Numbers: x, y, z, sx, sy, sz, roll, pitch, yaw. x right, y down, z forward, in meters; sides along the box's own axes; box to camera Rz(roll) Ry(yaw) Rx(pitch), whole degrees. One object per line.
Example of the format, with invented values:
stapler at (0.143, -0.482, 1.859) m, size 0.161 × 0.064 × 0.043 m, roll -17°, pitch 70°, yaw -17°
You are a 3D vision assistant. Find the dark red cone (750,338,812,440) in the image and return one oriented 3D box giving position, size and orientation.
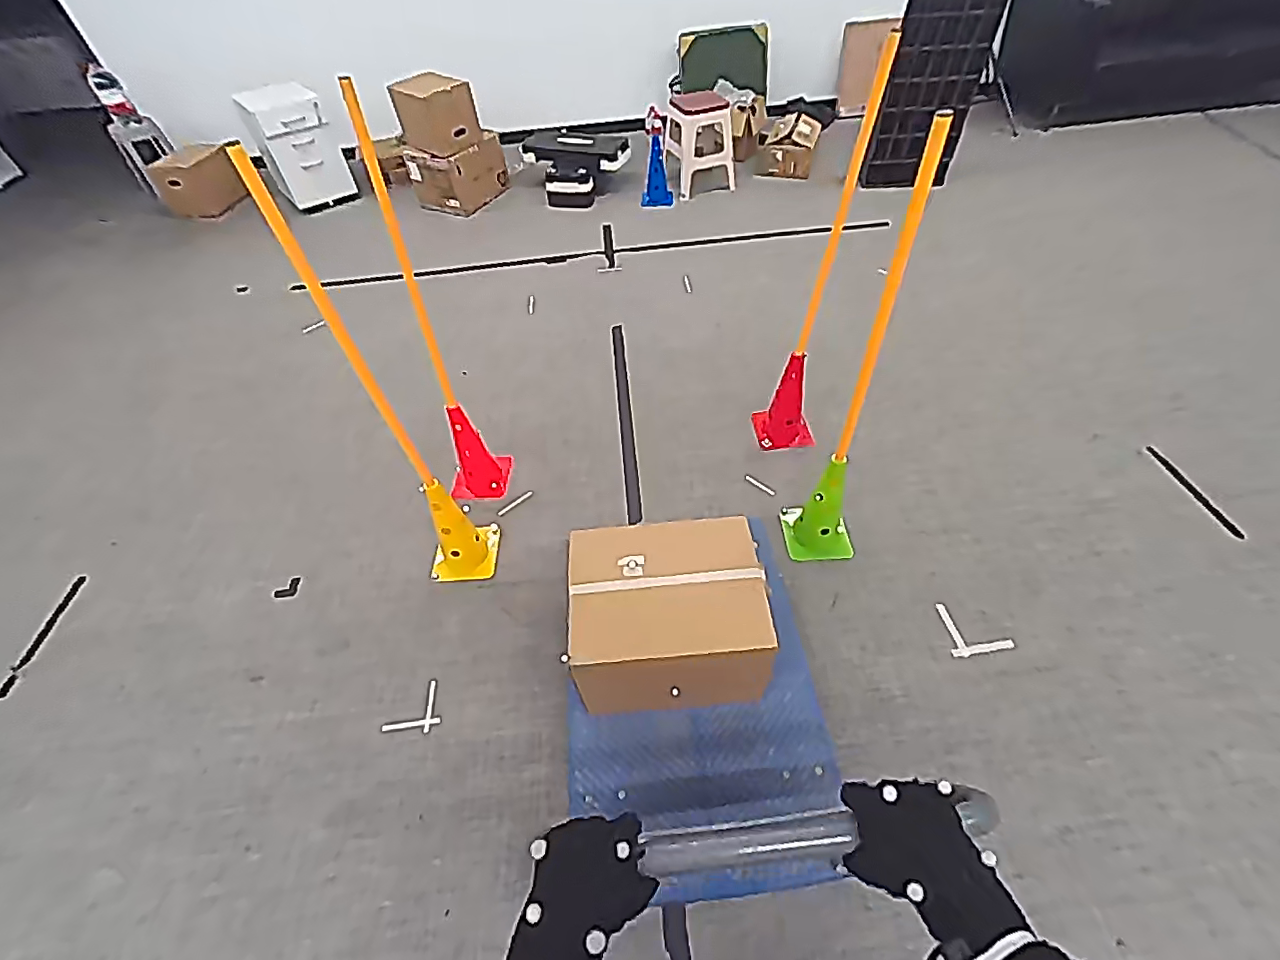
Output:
dark red cone at (0.527, -0.329, 1.922) m, size 0.201 × 0.394 × 0.202 m, roll -6°, pitch 50°, yaw -2°

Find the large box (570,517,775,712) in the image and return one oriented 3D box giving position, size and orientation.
large box at (0.063, 0.317, 1.245) m, size 0.408 × 0.320 × 0.320 m, roll -6°, pitch 50°, yaw 1°

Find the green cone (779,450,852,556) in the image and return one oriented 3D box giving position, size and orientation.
green cone at (0.557, 0.050, 1.620) m, size 0.202 × 0.368 × 0.200 m, roll -3°, pitch 50°, yaw 1°

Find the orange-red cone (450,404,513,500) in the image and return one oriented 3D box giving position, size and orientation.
orange-red cone at (-0.585, -0.118, 1.860) m, size 0.198 × 0.360 × 0.199 m, roll 0°, pitch 48°, yaw 3°
